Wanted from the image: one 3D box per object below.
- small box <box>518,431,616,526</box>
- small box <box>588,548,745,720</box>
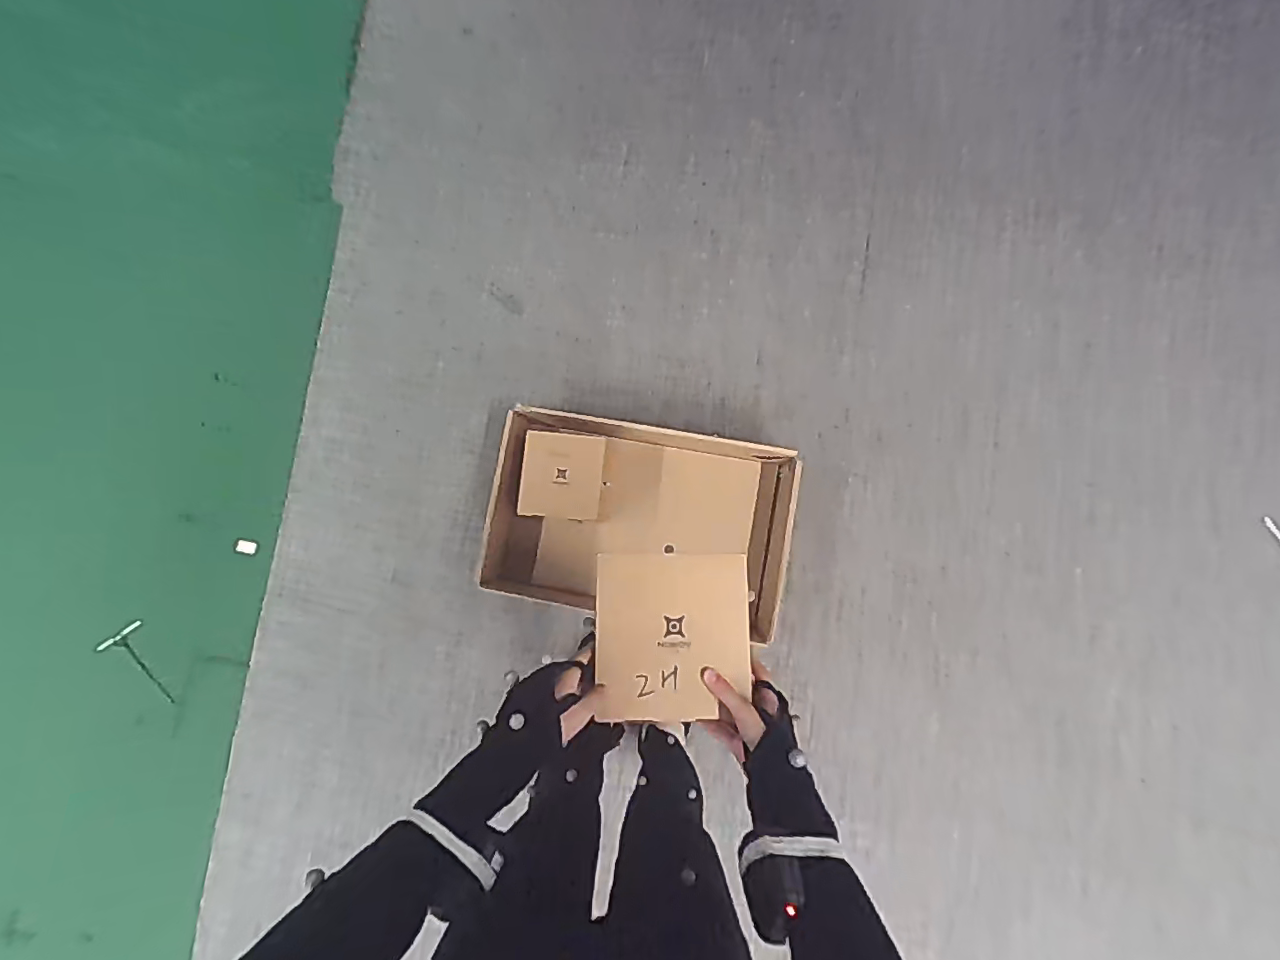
[{"bbox_3d":[-0.149,0.000,1.161,0.168,0.176,0.179,7,87,5],"label":"small box"},{"bbox_3d":[0.026,0.178,0.651,0.168,0.176,0.179,1,78,-1],"label":"small box"}]
